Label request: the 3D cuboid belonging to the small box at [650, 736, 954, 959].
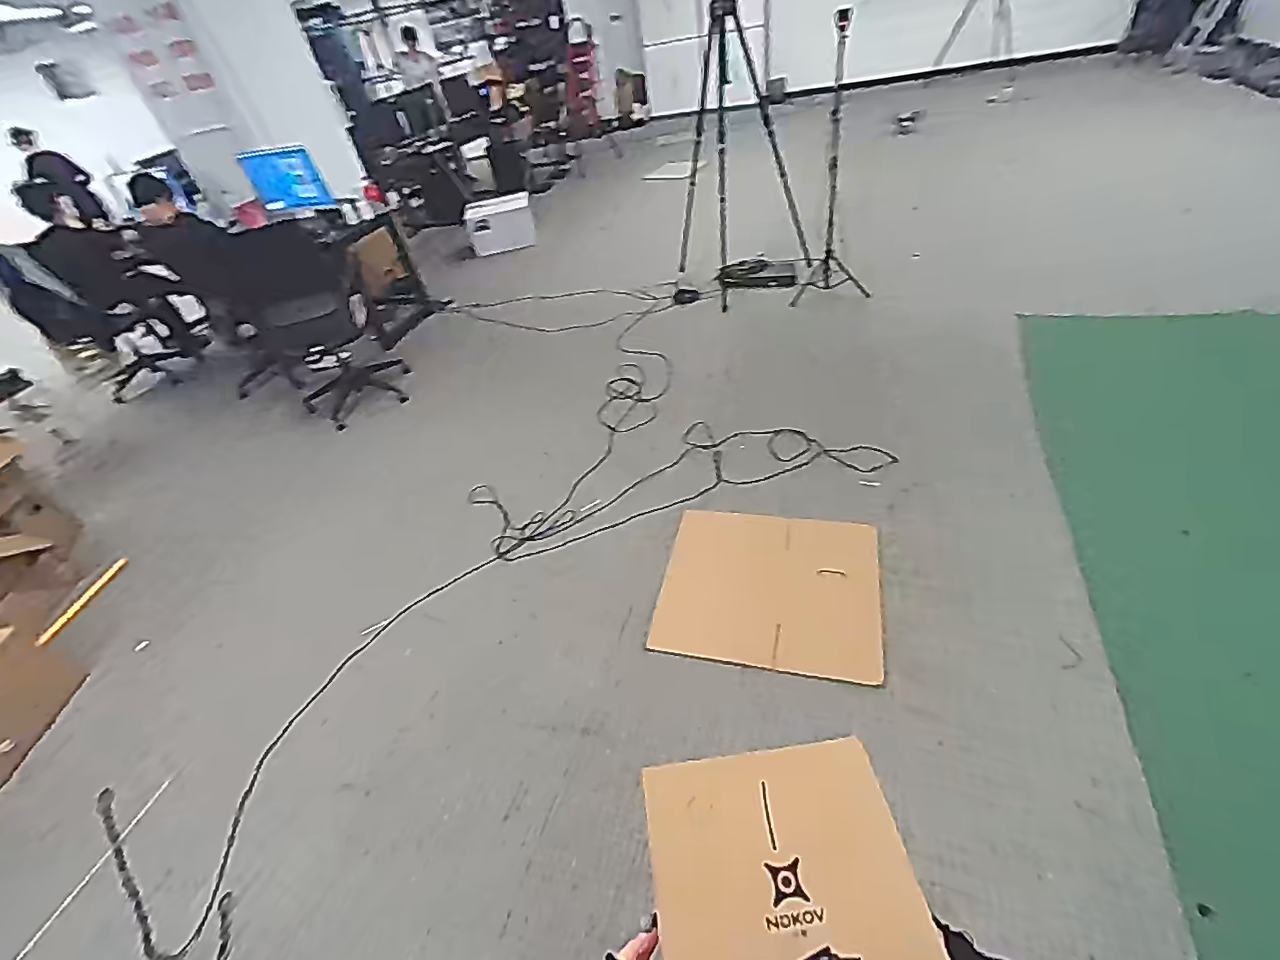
[{"bbox_3d":[0.101,0.314,0.393,0.168,0.176,0.179,-6,44,-3],"label":"small box"}]
